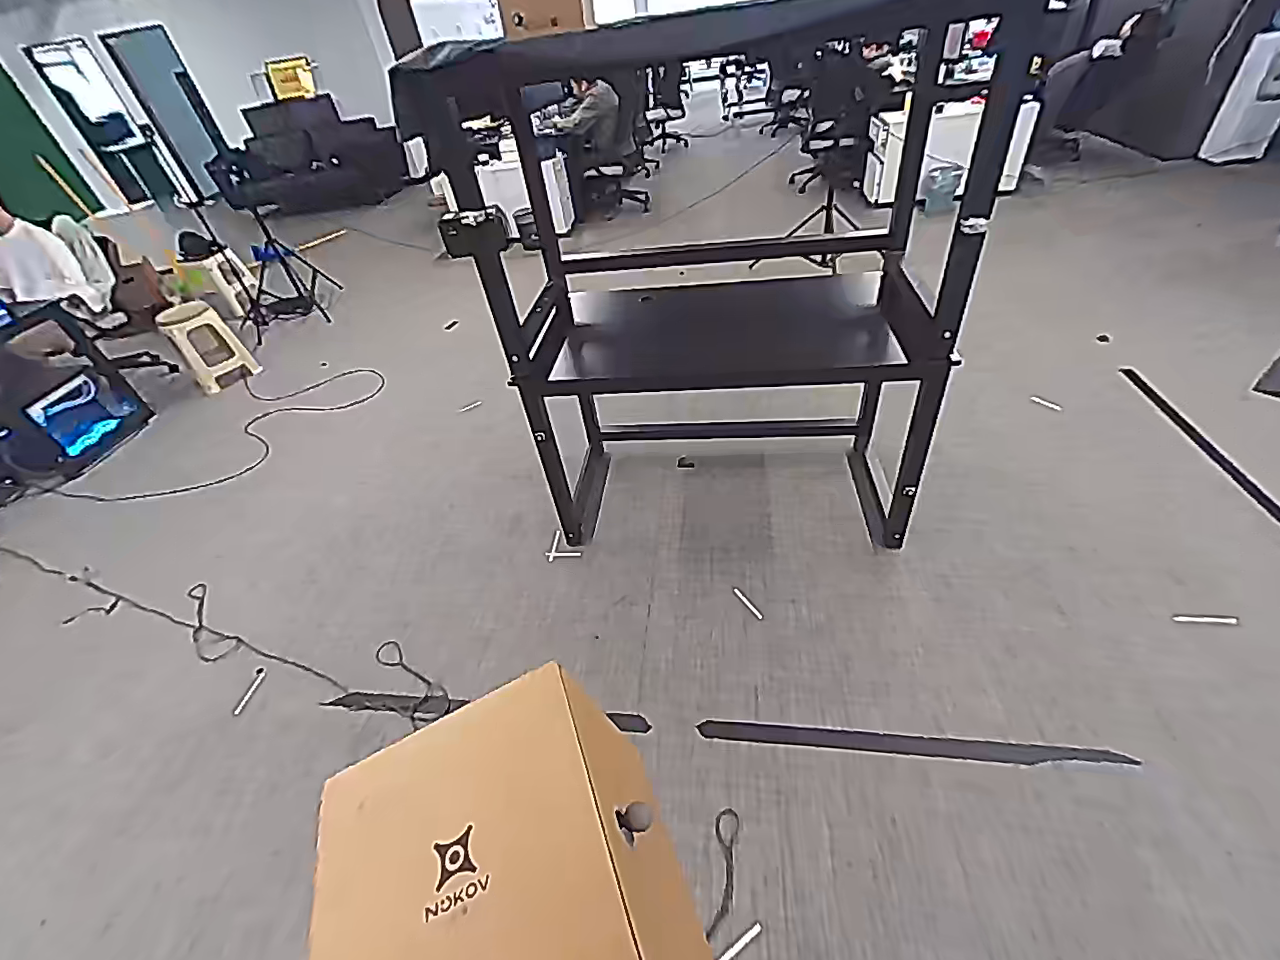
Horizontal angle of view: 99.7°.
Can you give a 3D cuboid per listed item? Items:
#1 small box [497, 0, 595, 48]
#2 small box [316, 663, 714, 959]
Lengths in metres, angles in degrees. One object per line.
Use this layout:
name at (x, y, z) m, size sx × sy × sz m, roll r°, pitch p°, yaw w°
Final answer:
small box at (-0.189, -0.977, 1.075) m, size 0.168 × 0.176 × 0.179 m, roll -2°, pitch 39°, yaw 7°
small box at (-0.069, 0.257, 0.338) m, size 0.168 × 0.176 × 0.179 m, roll -27°, pitch 43°, yaw -4°
